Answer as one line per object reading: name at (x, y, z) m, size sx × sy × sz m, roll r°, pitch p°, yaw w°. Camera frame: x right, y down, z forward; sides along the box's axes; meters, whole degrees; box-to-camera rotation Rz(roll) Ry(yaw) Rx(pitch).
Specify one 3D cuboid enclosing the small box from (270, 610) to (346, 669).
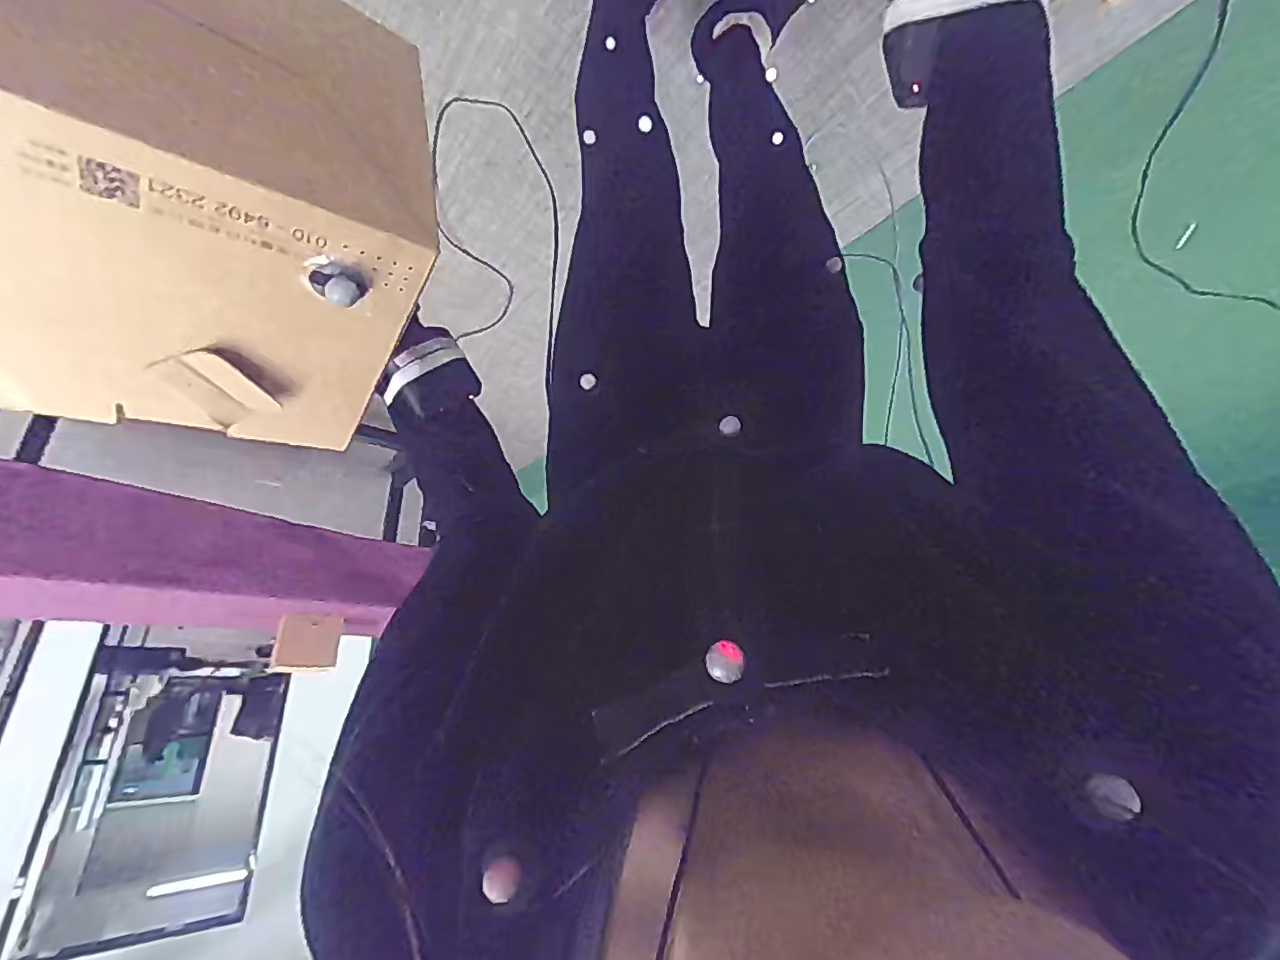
small box at (-1.117, 0.538, 1.820) m, size 0.179 × 0.176 × 0.168 m, roll 16°, pitch 151°, yaw -34°
